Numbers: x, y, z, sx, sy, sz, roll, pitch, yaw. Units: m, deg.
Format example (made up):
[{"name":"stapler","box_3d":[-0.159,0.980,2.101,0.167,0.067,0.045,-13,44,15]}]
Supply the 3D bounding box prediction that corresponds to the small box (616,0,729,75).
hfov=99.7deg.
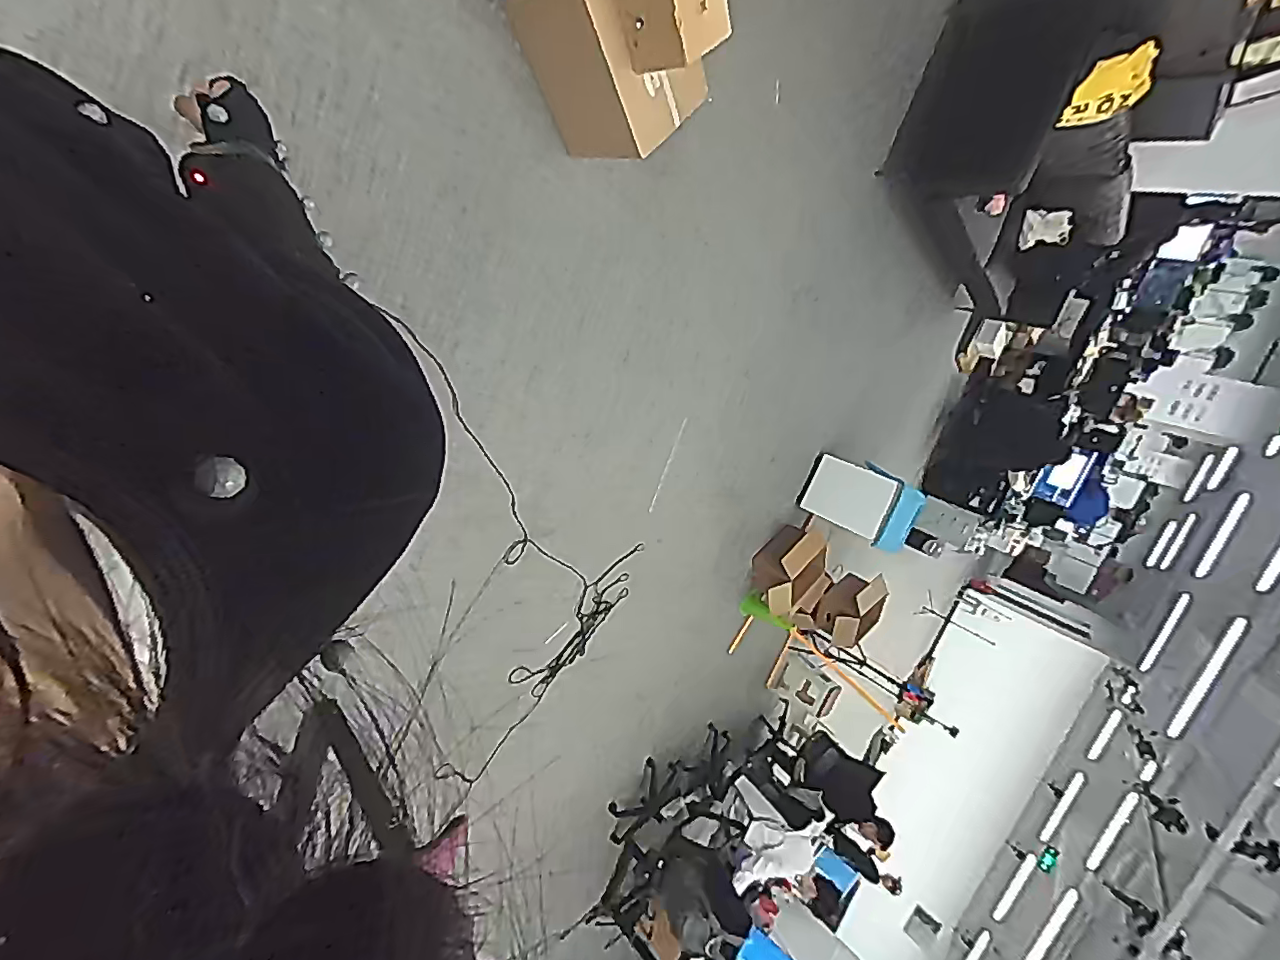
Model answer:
[{"name":"small box","box_3d":[0.075,-1.066,1.241,0.179,0.176,0.168,-47,140,-18]}]

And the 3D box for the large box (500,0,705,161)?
[{"name":"large box","box_3d":[-0.083,-1.126,1.422,0.320,0.320,0.408,-49,142,-14]}]
